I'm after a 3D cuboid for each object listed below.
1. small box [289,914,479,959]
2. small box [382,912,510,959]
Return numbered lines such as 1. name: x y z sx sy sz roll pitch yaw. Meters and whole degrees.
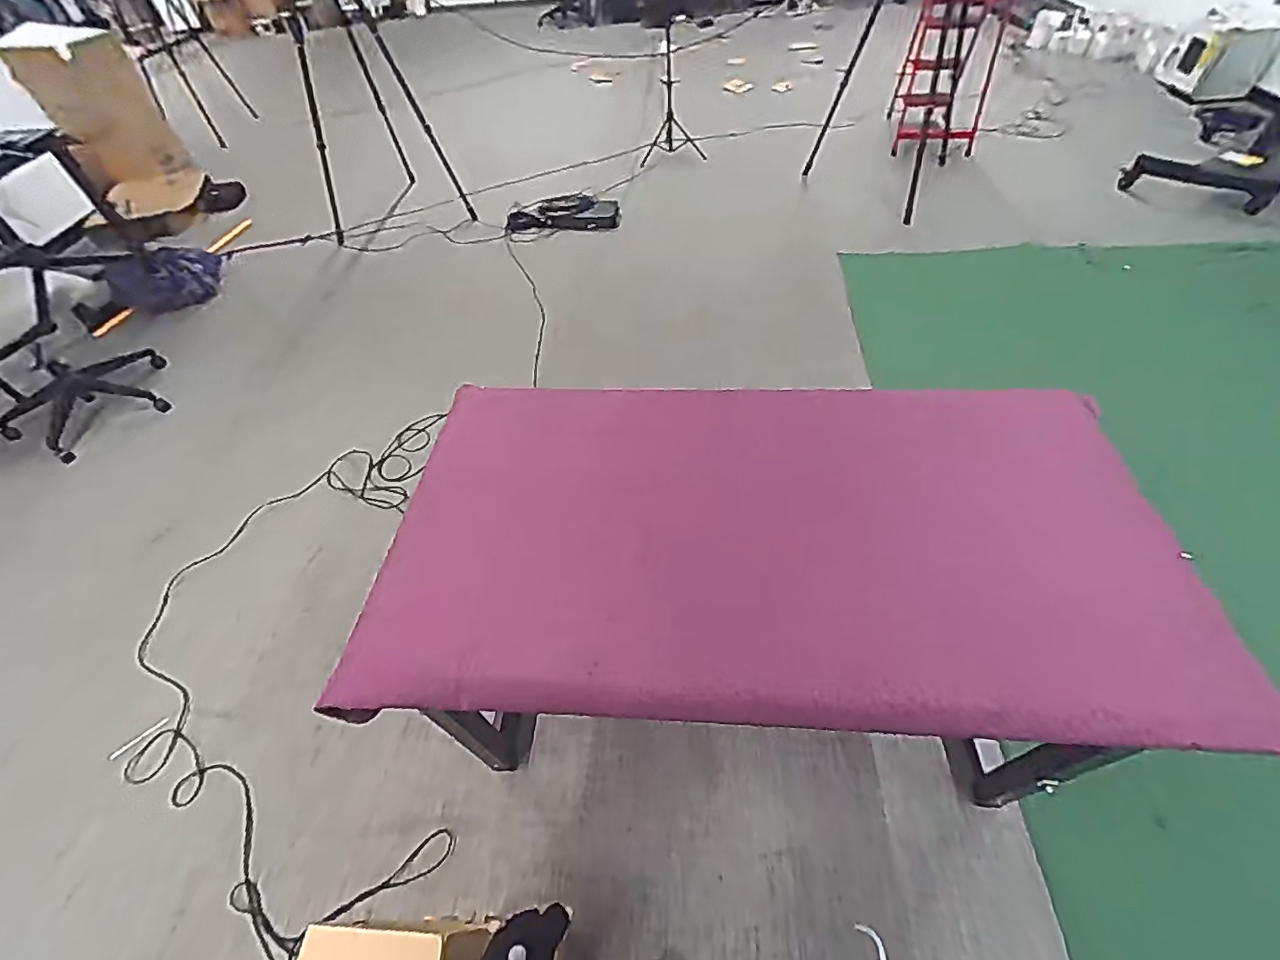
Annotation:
1. small box: -0.322 0.643 0.660 0.179 0.176 0.168 1 53 5
2. small box: -0.299 0.746 0.787 0.168 0.176 0.179 0 53 5
